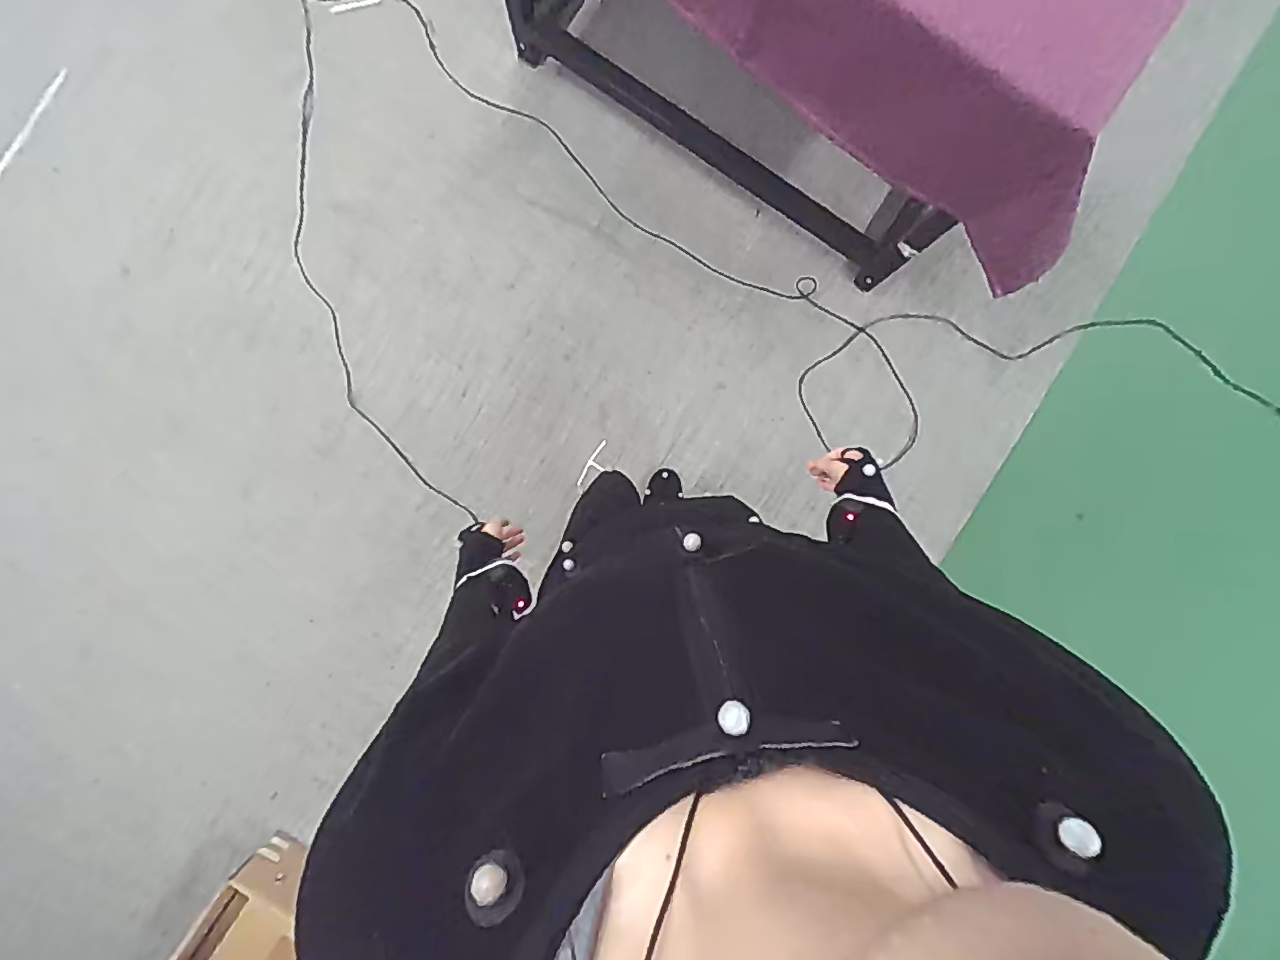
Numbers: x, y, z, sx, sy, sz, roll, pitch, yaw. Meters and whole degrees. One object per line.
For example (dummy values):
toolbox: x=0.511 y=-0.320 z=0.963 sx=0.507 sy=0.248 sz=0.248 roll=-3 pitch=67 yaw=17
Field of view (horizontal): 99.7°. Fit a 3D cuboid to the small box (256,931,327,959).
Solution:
small box: x=-0.932 y=1.303 z=1.352 sx=0.168 sy=0.176 sz=0.179 roll=35 pitch=88 yaw=-3
